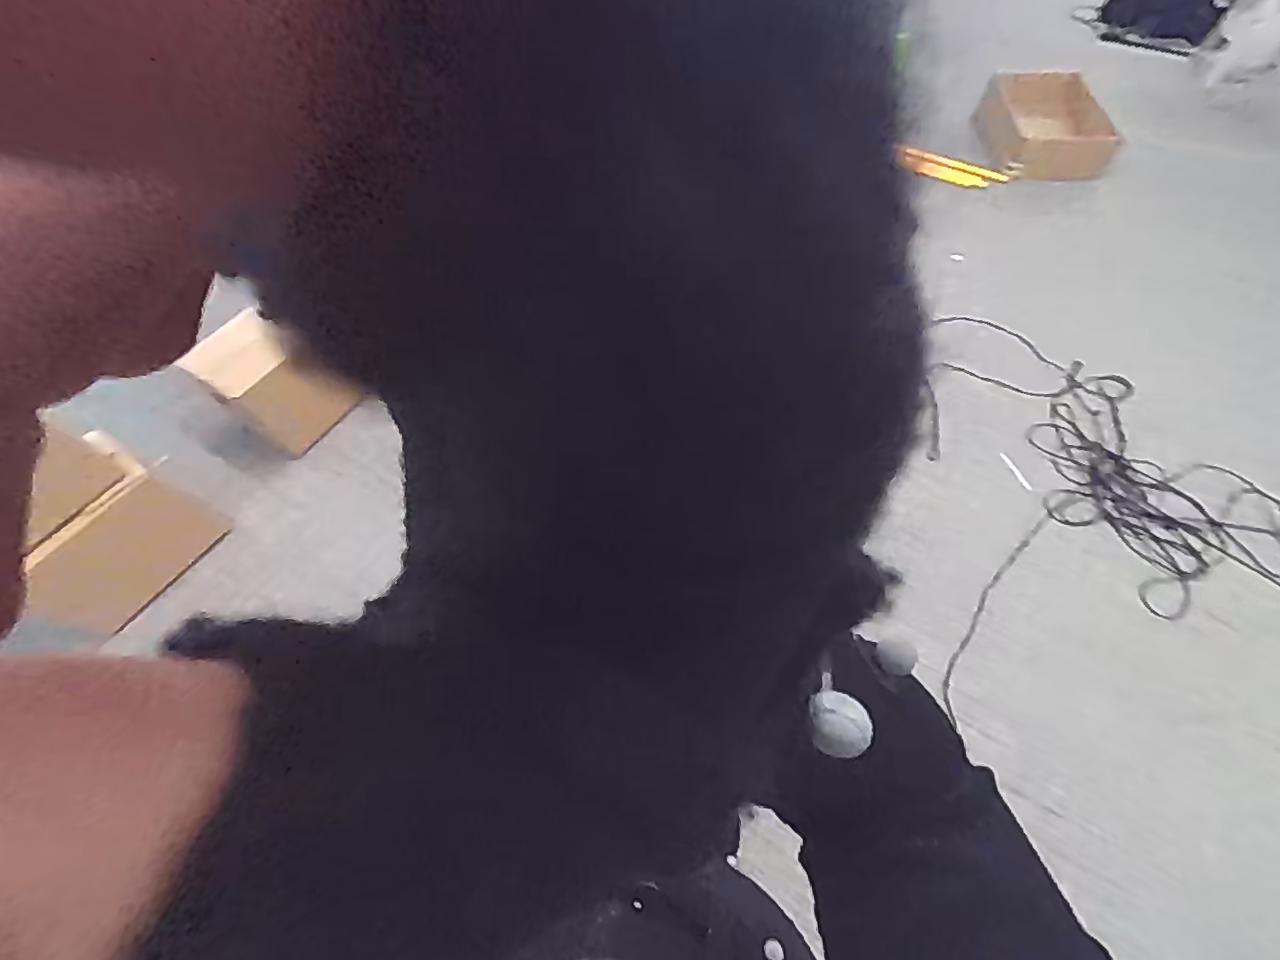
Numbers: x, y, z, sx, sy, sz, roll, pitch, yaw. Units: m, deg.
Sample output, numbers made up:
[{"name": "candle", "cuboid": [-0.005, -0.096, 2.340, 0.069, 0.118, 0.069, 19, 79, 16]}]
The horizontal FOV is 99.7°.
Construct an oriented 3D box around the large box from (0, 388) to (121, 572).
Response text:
[{"name": "large box", "cuboid": [-1.591, -0.005, 1.256, 0.320, 0.320, 0.408, 24, 61, 21]}]
